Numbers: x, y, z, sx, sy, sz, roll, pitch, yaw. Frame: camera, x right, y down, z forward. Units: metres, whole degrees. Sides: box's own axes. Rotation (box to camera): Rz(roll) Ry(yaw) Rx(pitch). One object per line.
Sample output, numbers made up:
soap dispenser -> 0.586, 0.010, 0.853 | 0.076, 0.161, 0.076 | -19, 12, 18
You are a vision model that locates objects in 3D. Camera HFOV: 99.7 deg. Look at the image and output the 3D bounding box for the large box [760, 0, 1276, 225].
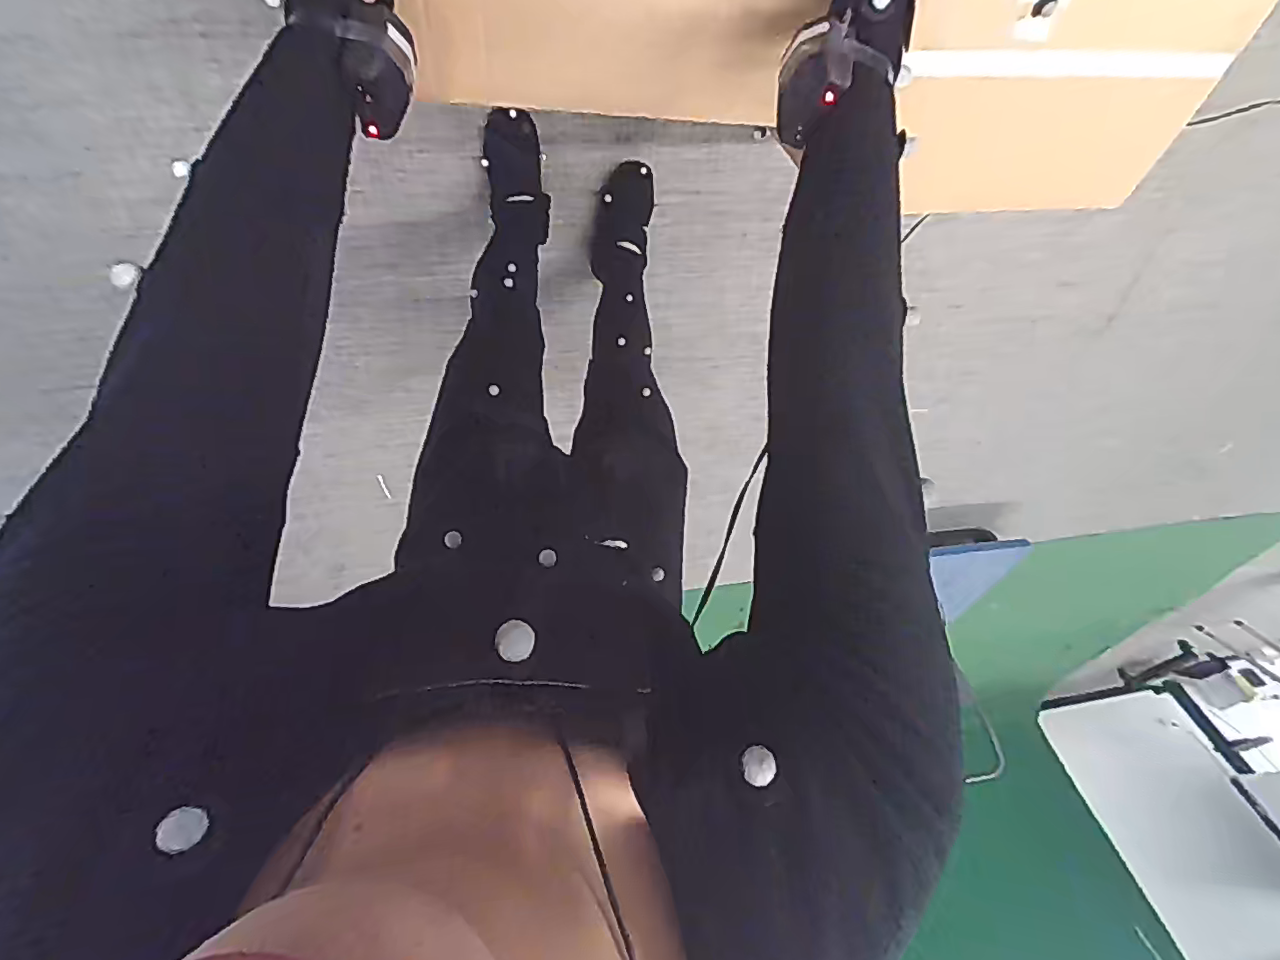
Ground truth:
large box -> 0.406, -0.537, 0.645 | 0.408, 0.320, 0.320 | -5, 142, -8
